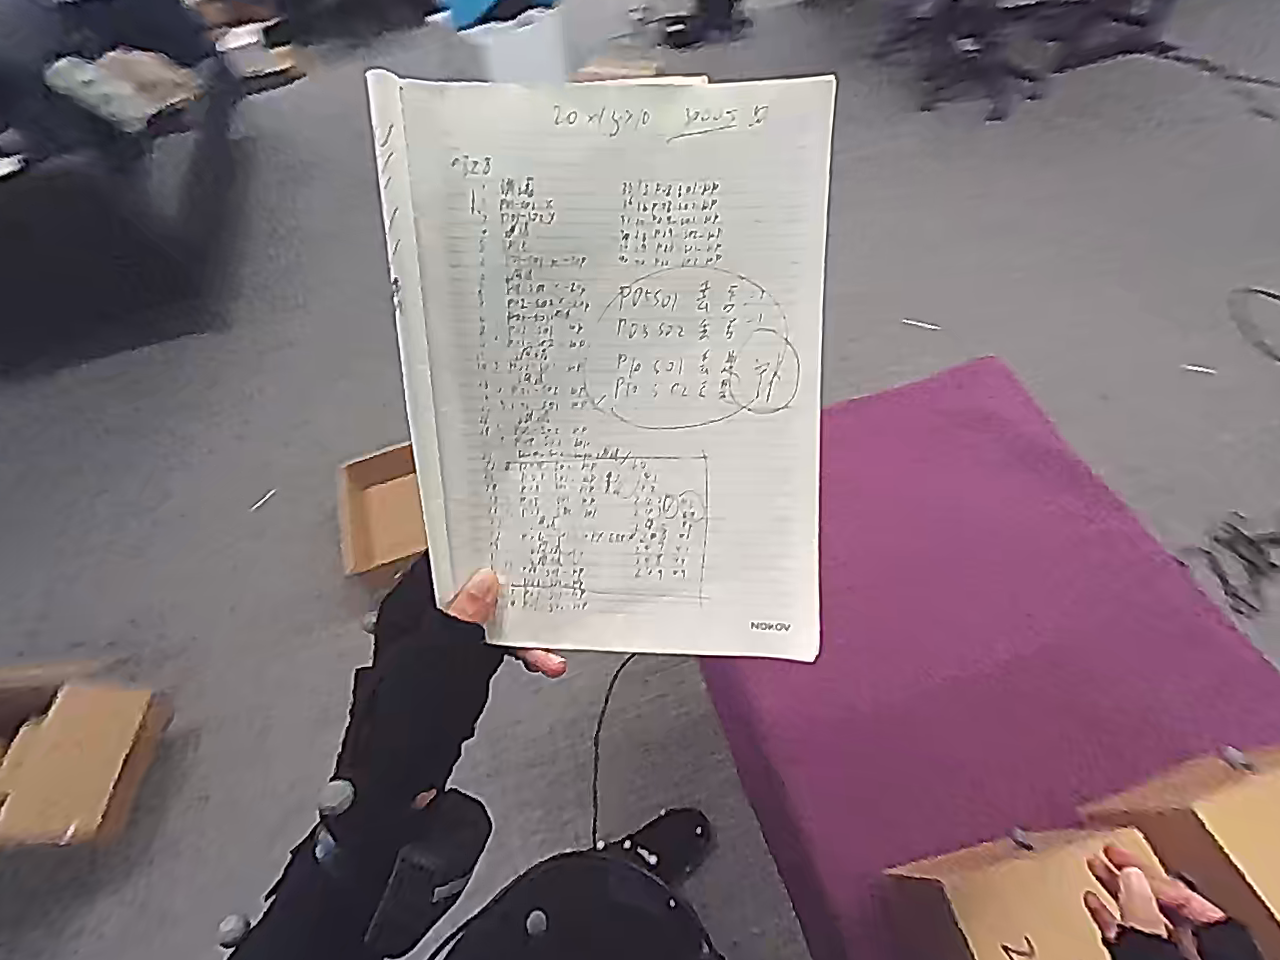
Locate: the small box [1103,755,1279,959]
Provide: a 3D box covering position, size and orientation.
[{"bbox_3d":[0.567,0.354,0.473,0.179,0.176,0.168,-17,56,-6],"label":"small box"}]

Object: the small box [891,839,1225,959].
[{"bbox_3d":[0.347,0.412,0.451,0.179,0.176,0.168,-12,55,-3],"label":"small box"}]
